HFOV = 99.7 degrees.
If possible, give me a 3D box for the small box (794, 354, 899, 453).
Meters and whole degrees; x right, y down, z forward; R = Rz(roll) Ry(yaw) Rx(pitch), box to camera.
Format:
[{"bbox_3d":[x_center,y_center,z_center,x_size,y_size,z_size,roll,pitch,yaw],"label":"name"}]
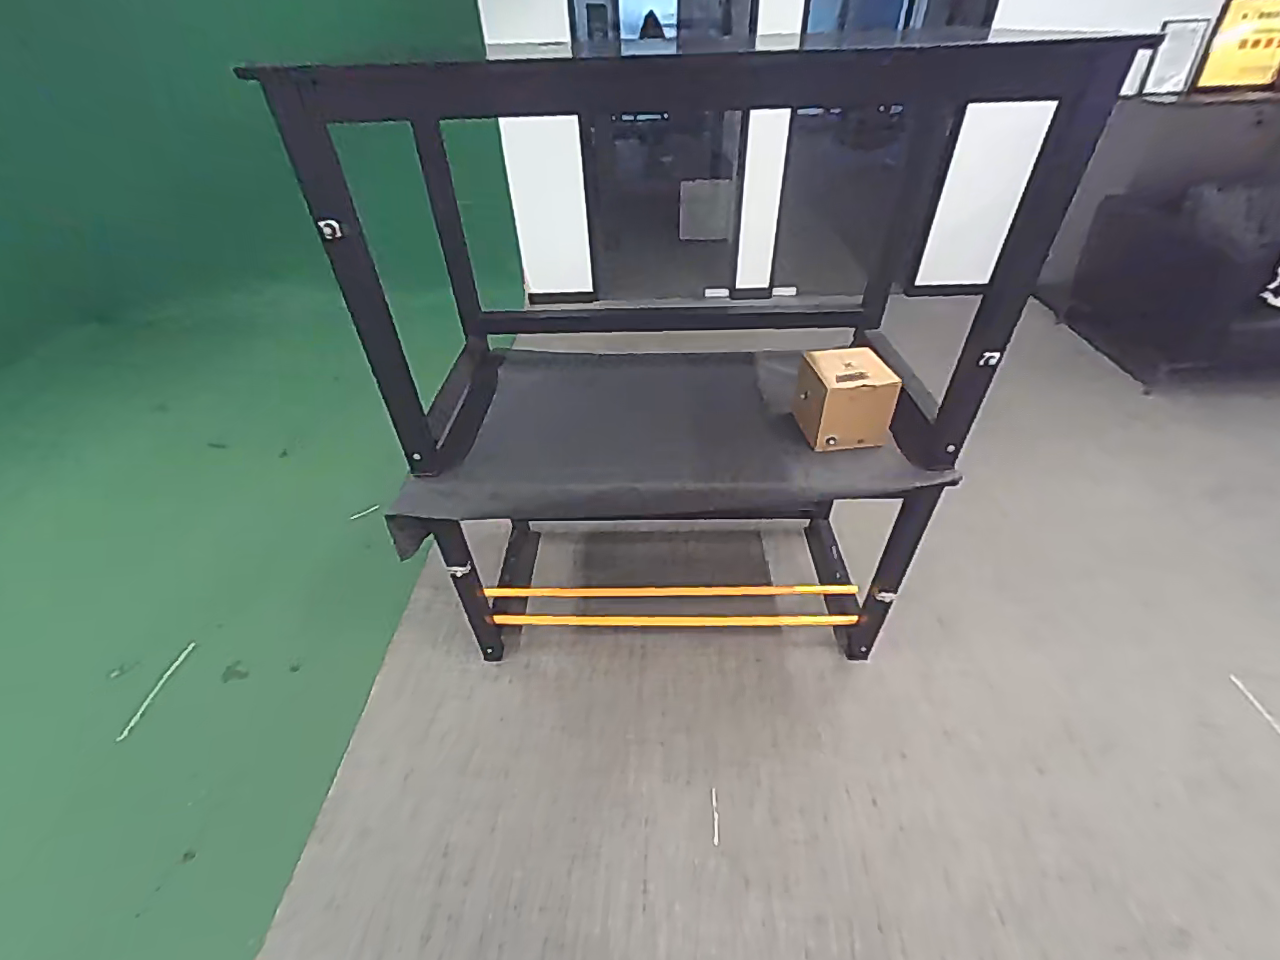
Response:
[{"bbox_3d":[0.474,-0.175,1.268,0.168,0.176,0.179,-5,38,-3],"label":"small box"}]
